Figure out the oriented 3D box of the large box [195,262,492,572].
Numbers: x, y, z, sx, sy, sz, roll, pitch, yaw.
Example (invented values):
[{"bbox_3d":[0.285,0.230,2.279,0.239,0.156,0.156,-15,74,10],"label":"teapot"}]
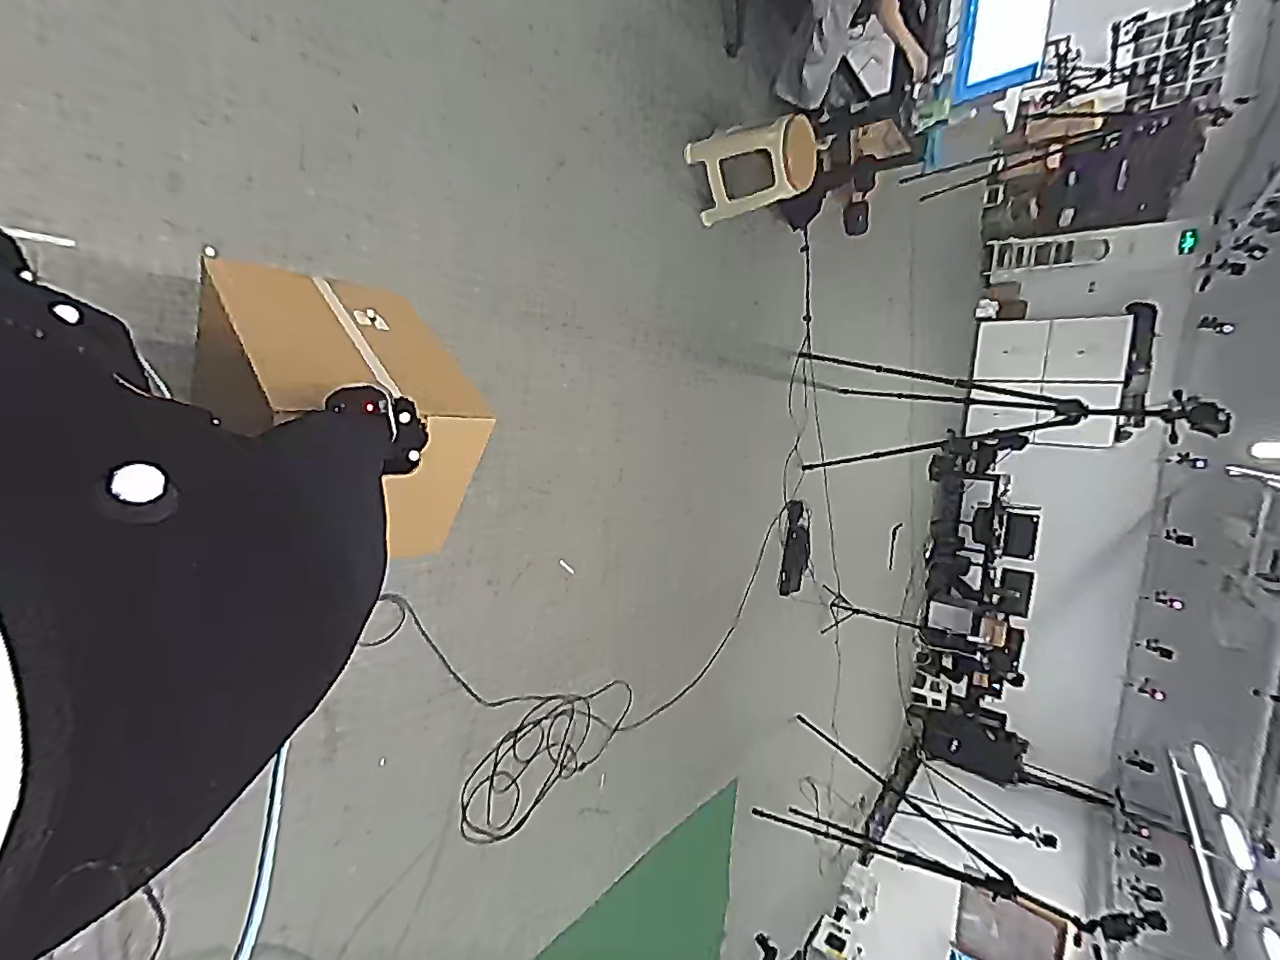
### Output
[{"bbox_3d":[-0.524,-0.110,0.930,0.320,0.408,0.320,-5,133,-49],"label":"large box"}]
